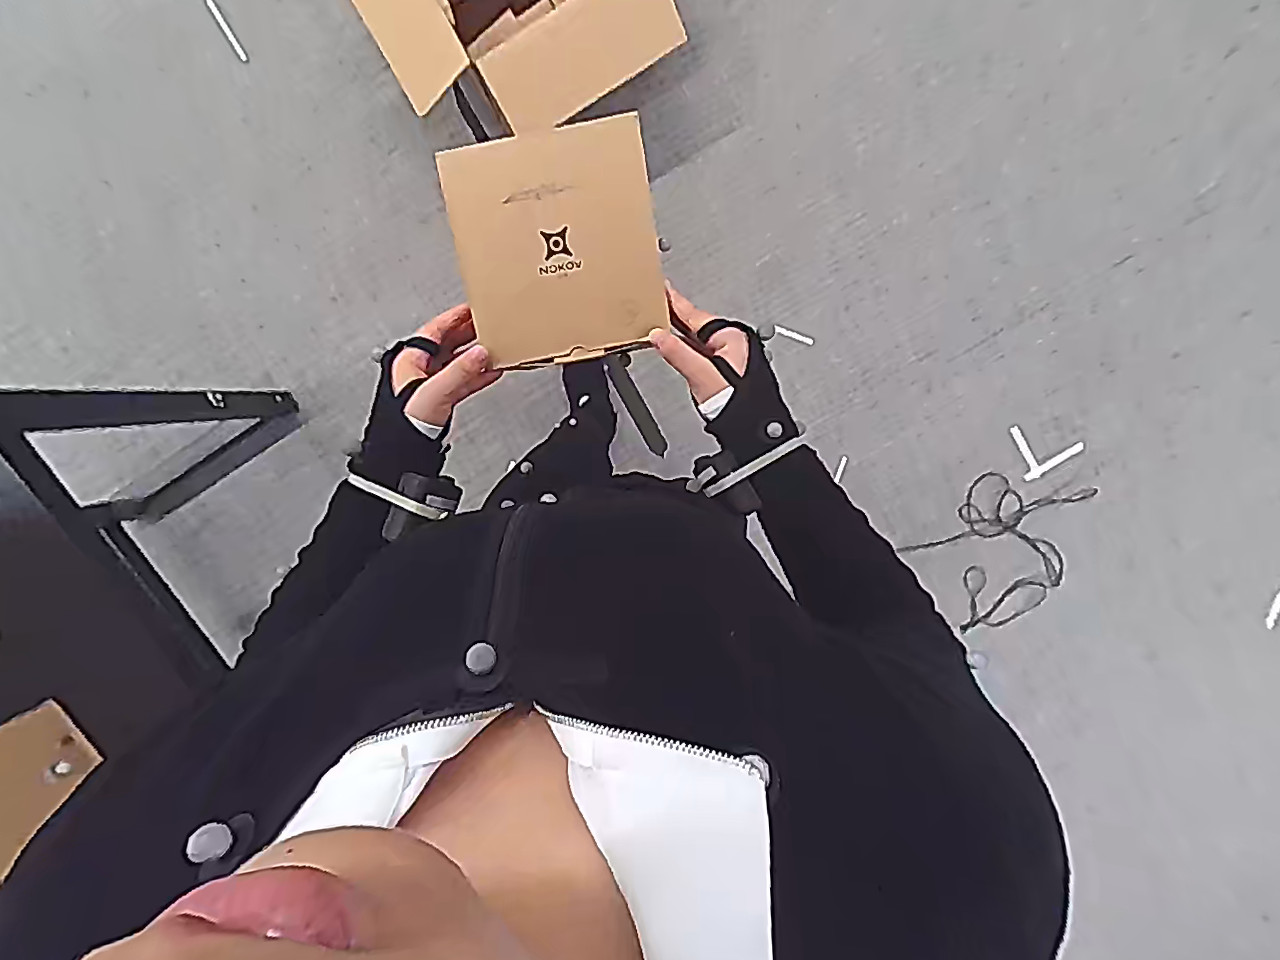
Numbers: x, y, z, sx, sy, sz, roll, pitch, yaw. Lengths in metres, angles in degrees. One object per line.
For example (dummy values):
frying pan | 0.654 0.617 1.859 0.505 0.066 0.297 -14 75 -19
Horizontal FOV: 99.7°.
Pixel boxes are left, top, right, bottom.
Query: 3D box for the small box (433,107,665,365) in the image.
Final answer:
small box | -0.069 -0.213 0.520 0.168 0.176 0.179 -10 102 2

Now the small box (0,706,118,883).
small box | -0.865 0.437 0.705 0.179 0.176 0.168 -30 98 4
